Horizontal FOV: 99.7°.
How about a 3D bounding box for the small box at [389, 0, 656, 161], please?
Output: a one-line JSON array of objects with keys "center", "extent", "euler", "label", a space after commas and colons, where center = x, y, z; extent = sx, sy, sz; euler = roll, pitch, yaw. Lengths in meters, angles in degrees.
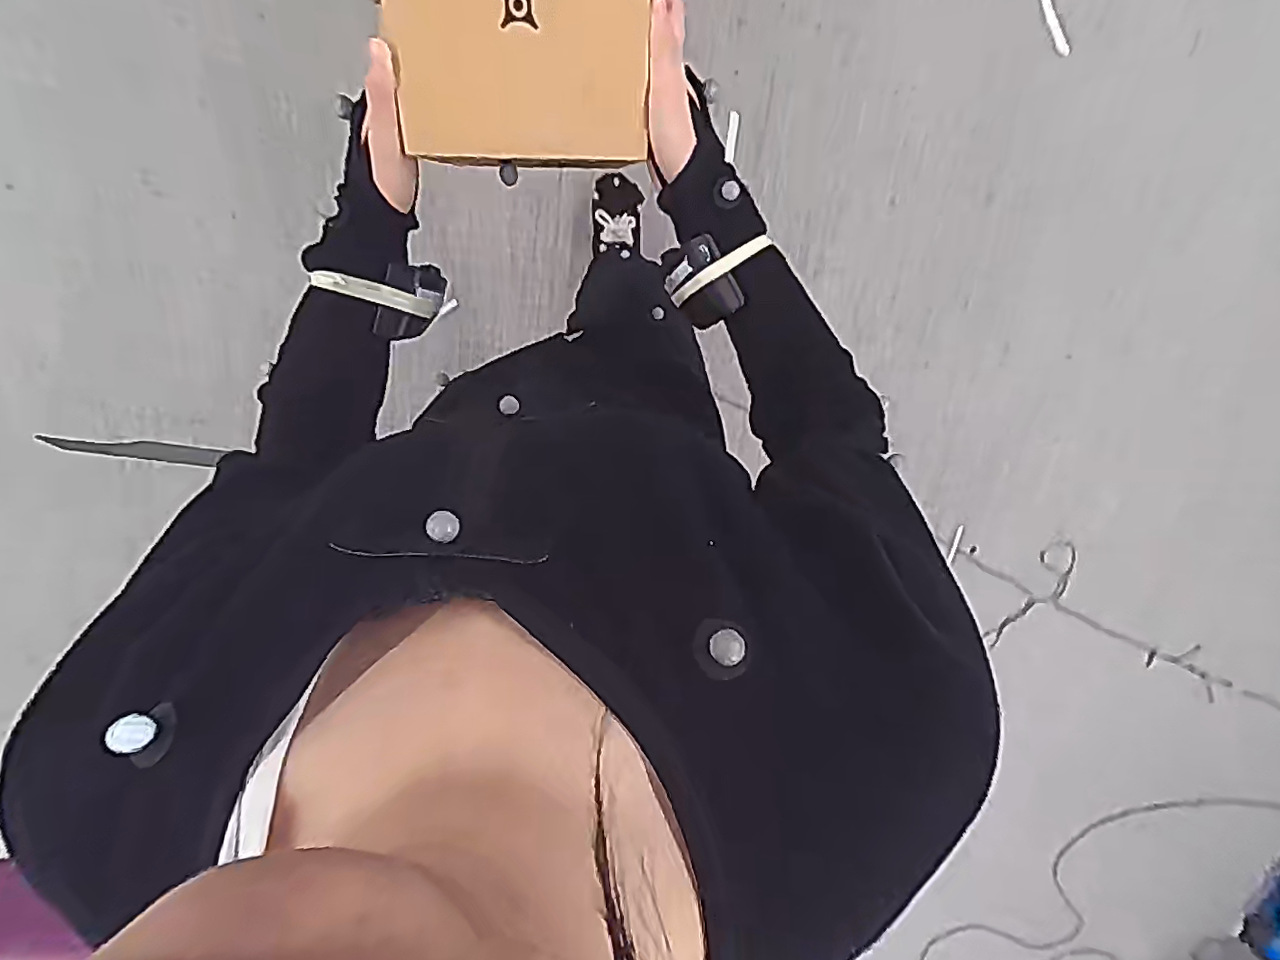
[{"center": [-0.077, -0.341, 0.398], "extent": [0.168, 0.176, 0.179], "euler": [-2, 117, -6], "label": "small box"}]
